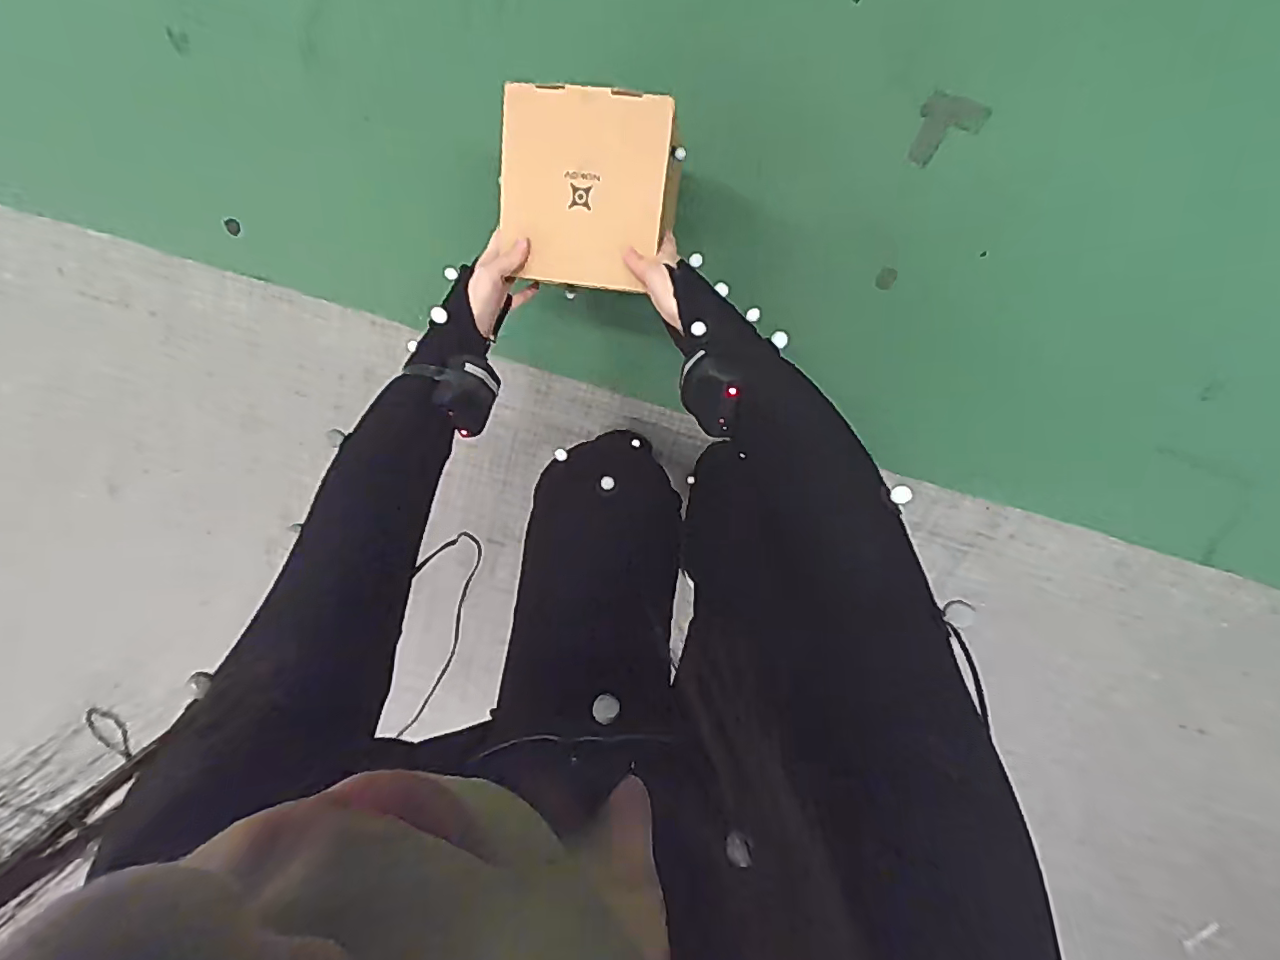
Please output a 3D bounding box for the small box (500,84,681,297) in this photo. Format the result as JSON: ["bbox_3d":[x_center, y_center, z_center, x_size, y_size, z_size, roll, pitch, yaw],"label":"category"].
[{"bbox_3d":[-0.047,-0.307,0.610,0.168,0.176,0.179,9,108,4],"label":"small box"}]
